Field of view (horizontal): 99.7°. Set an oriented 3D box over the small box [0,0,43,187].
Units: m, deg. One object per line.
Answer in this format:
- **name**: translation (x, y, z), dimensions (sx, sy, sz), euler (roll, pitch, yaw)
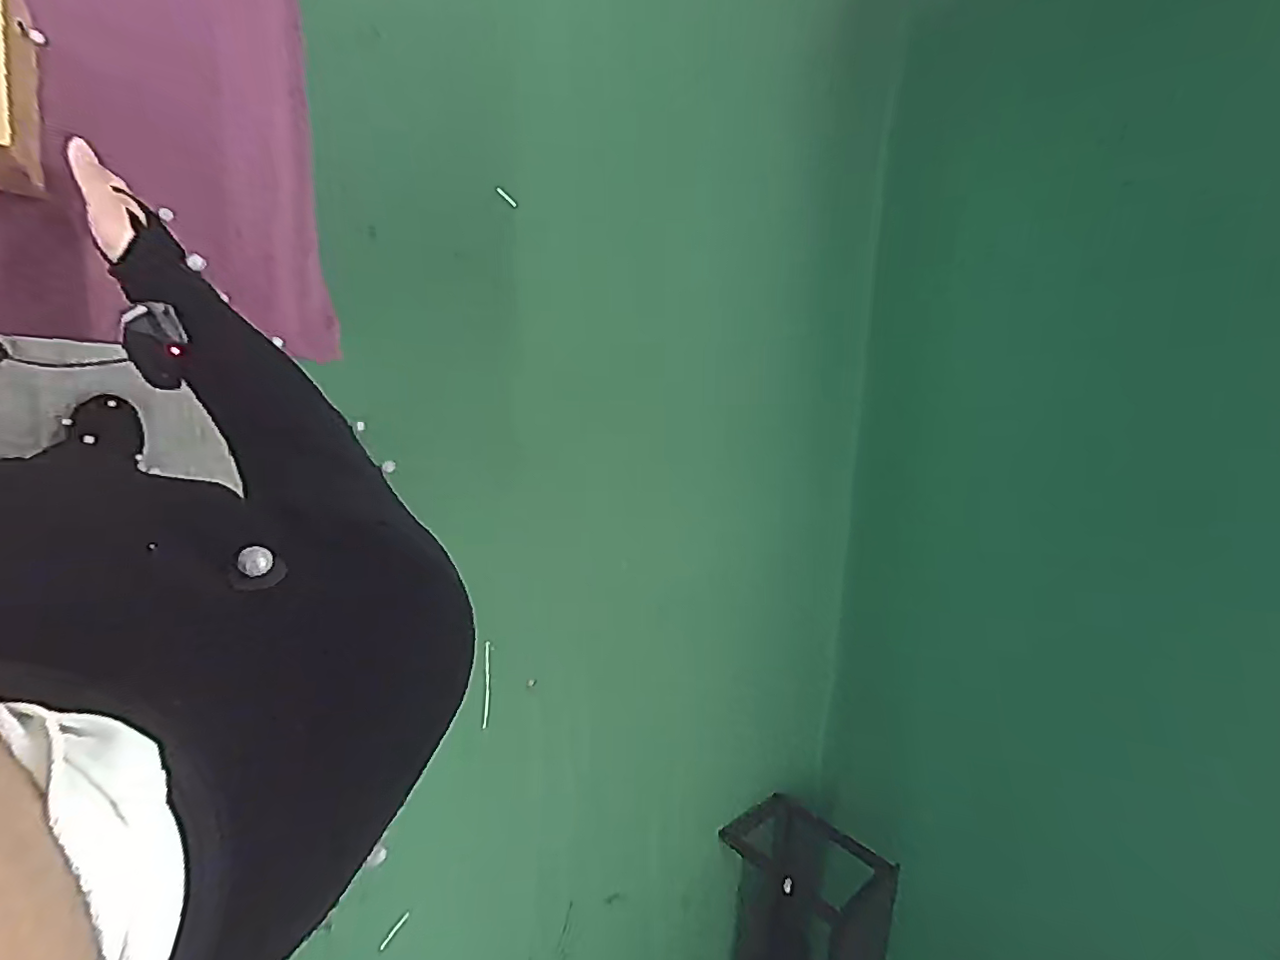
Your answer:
- **small box**: translation (-0.654, -0.385, 0.465), dimensions (0.168, 0.176, 0.179), euler (-3, 101, -40)
